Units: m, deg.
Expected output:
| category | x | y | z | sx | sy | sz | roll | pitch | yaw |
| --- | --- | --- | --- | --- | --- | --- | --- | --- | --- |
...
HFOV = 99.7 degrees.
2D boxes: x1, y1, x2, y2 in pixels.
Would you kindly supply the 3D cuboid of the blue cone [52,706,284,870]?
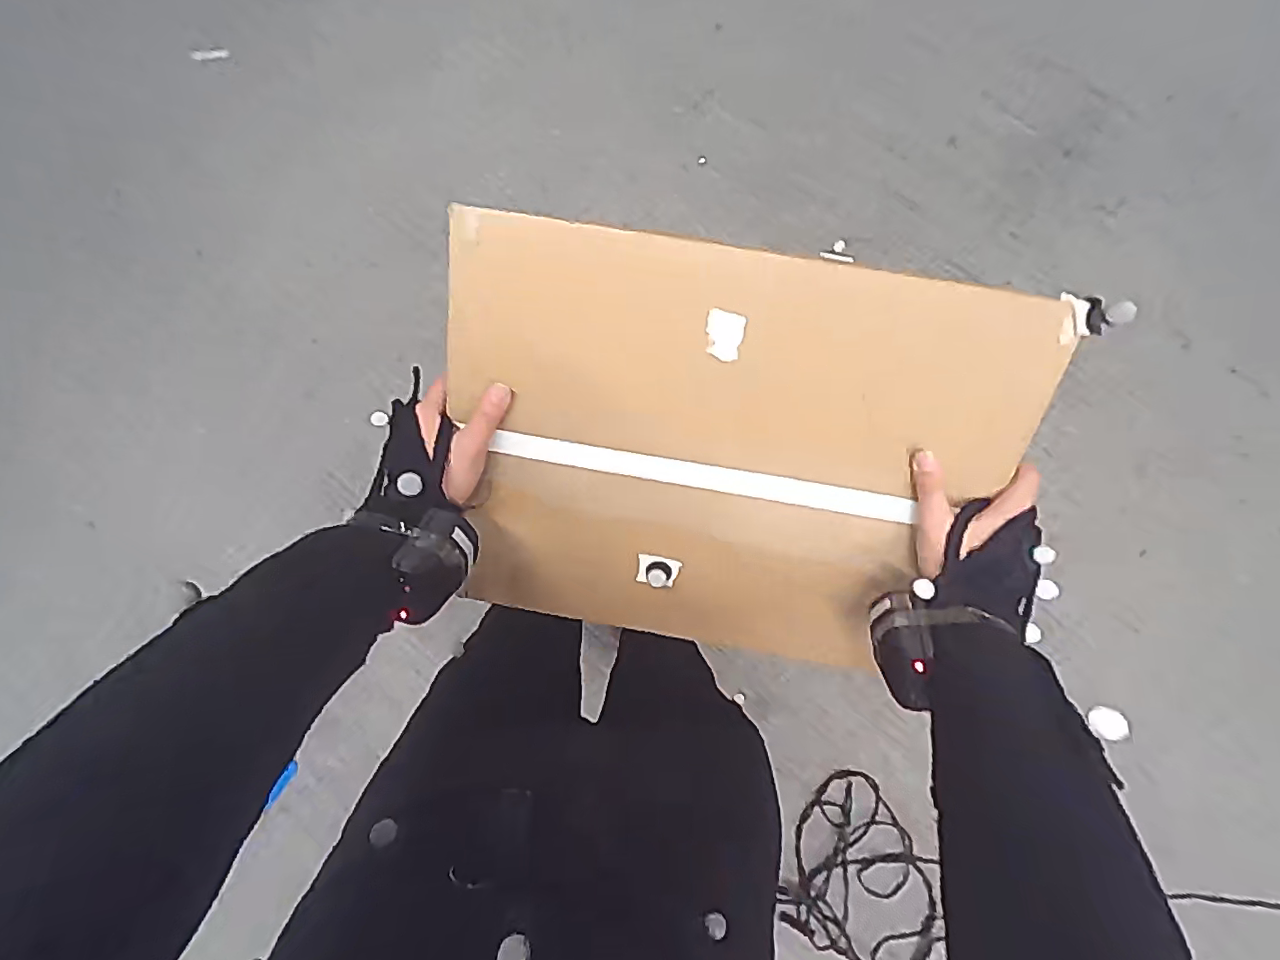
| category | x | y | z | sx | sy | sz | roll | pitch | yaw |
| --- | --- | --- | --- | --- | --- | --- | --- | --- | --- |
| blue cone | -0.956 | 0.650 | 1.100 | 0.192 | 0.380 | 0.193 | 40 | 94 | 5 |
